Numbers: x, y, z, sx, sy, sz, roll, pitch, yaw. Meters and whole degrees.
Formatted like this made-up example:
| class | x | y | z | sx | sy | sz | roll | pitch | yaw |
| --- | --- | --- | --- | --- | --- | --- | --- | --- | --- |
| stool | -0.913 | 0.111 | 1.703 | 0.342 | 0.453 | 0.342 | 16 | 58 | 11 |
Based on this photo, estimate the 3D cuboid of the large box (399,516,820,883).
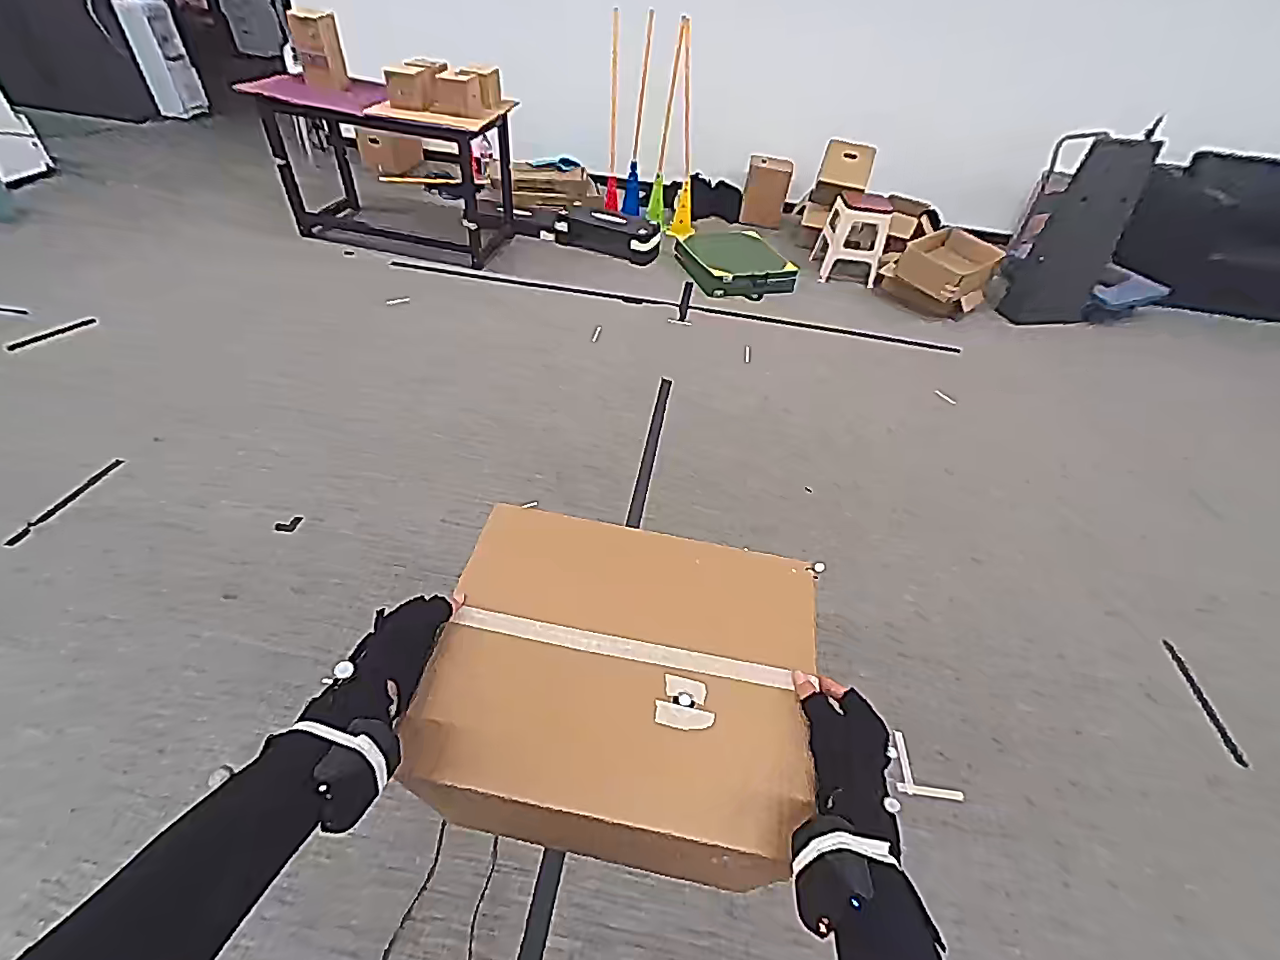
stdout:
| class | x | y | z | sx | sy | sz | roll | pitch | yaw |
| --- | --- | --- | --- | --- | --- | --- | --- | --- | --- |
| large box | -0.022 | 0.286 | 0.702 | 0.408 | 0.320 | 0.320 | 10 | 50 | 3 |
